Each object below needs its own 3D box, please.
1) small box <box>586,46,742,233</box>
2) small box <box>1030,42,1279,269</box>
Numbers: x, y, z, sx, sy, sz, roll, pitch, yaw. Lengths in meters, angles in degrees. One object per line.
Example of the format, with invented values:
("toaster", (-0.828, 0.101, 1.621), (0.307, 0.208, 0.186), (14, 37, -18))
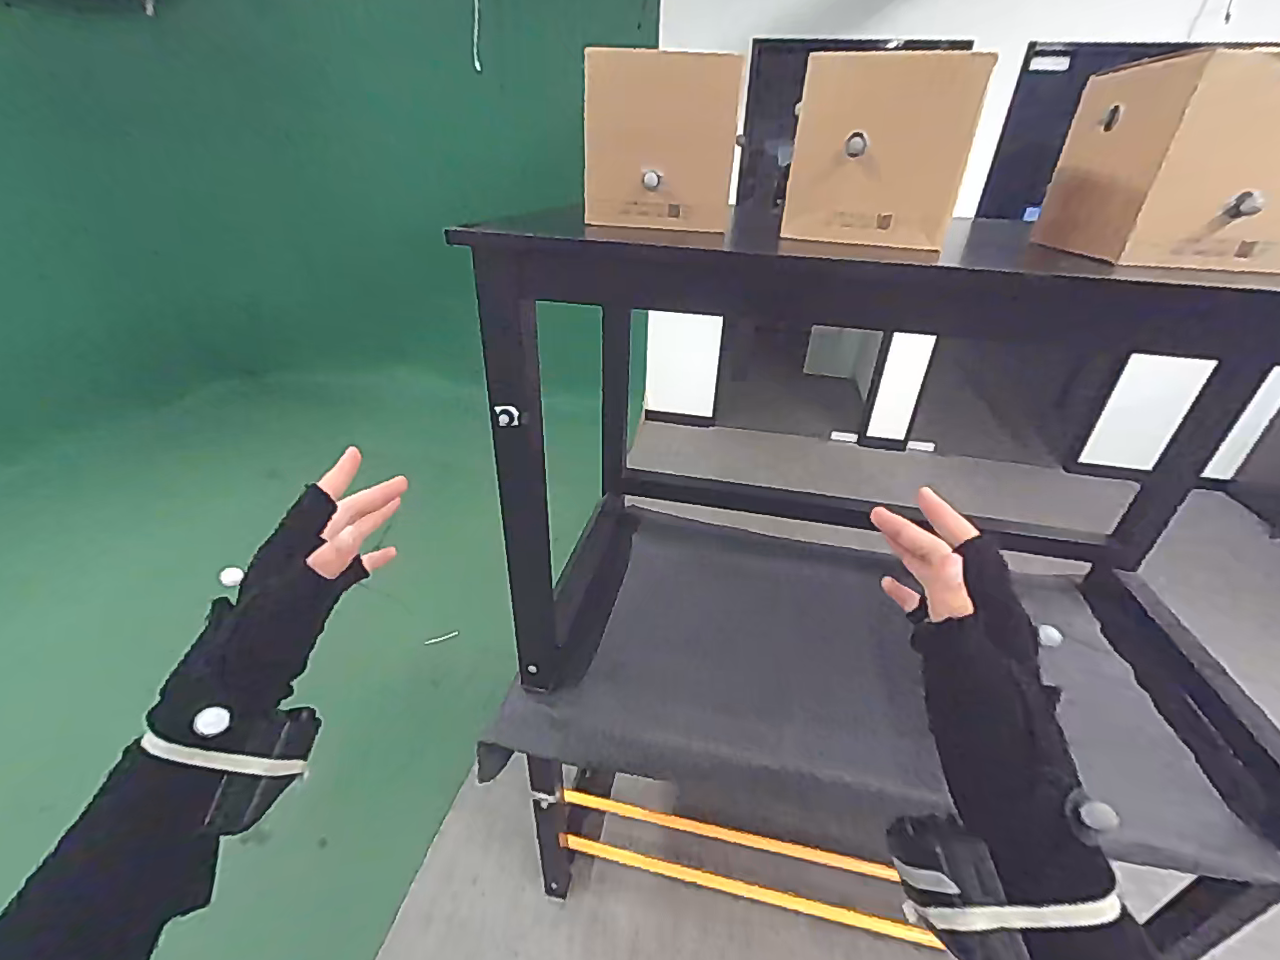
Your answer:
("small box", (0.028, -0.410, 0.667), (0.168, 0.176, 0.179), (5, 31, 4))
("small box", (0.546, -0.321, 0.550), (0.168, 0.176, 0.179), (5, 31, 6))
